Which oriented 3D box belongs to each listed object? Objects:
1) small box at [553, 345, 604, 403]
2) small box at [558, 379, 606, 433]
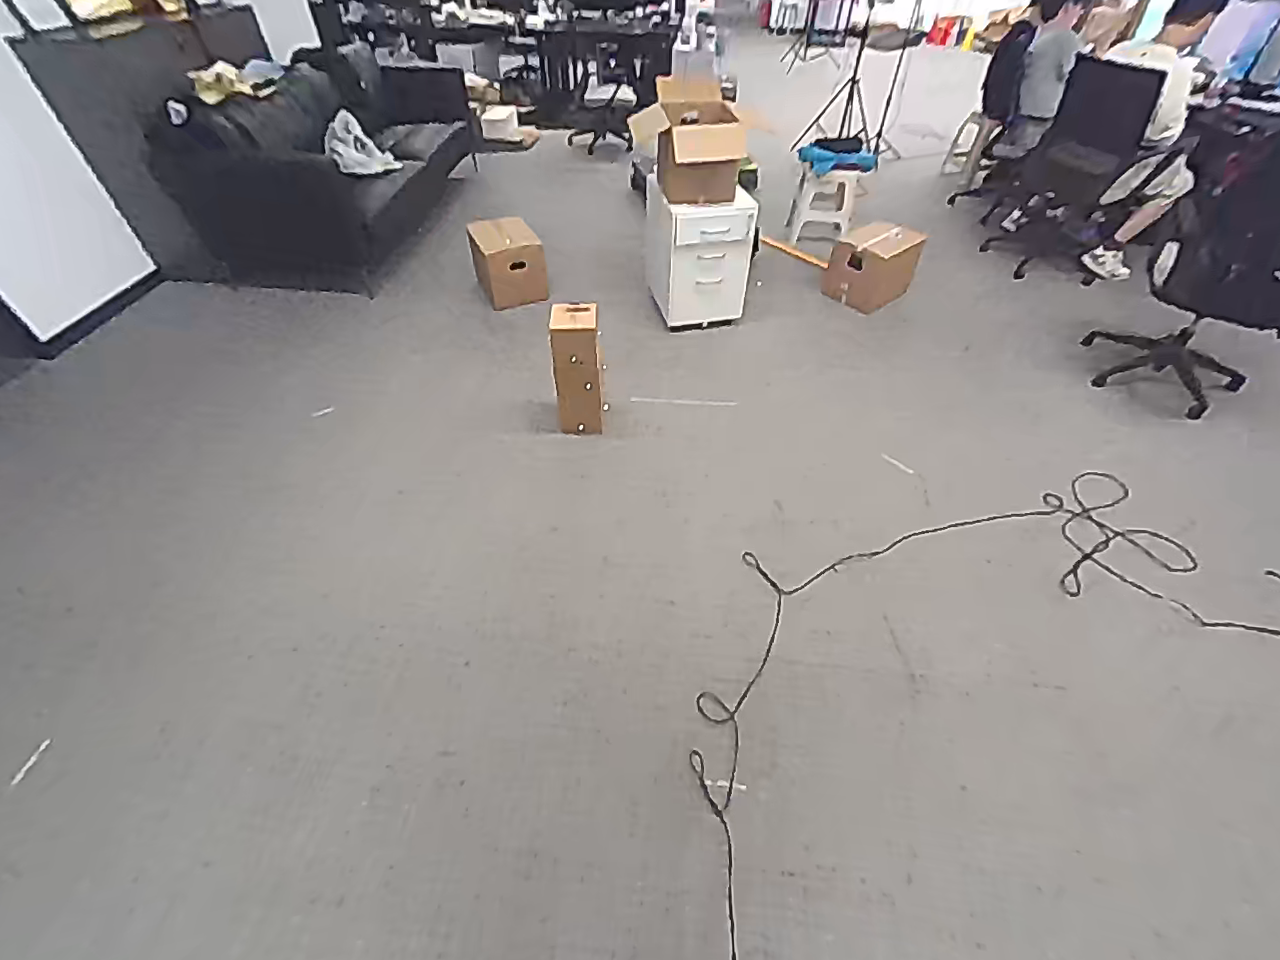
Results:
[{"bbox_3d":[-0.238,-0.417,2.134,0.179,0.176,0.168,-1,45,2],"label":"small box"},{"bbox_3d":[-0.237,-0.313,2.259,0.179,0.176,0.168,2,46,2],"label":"small box"}]
